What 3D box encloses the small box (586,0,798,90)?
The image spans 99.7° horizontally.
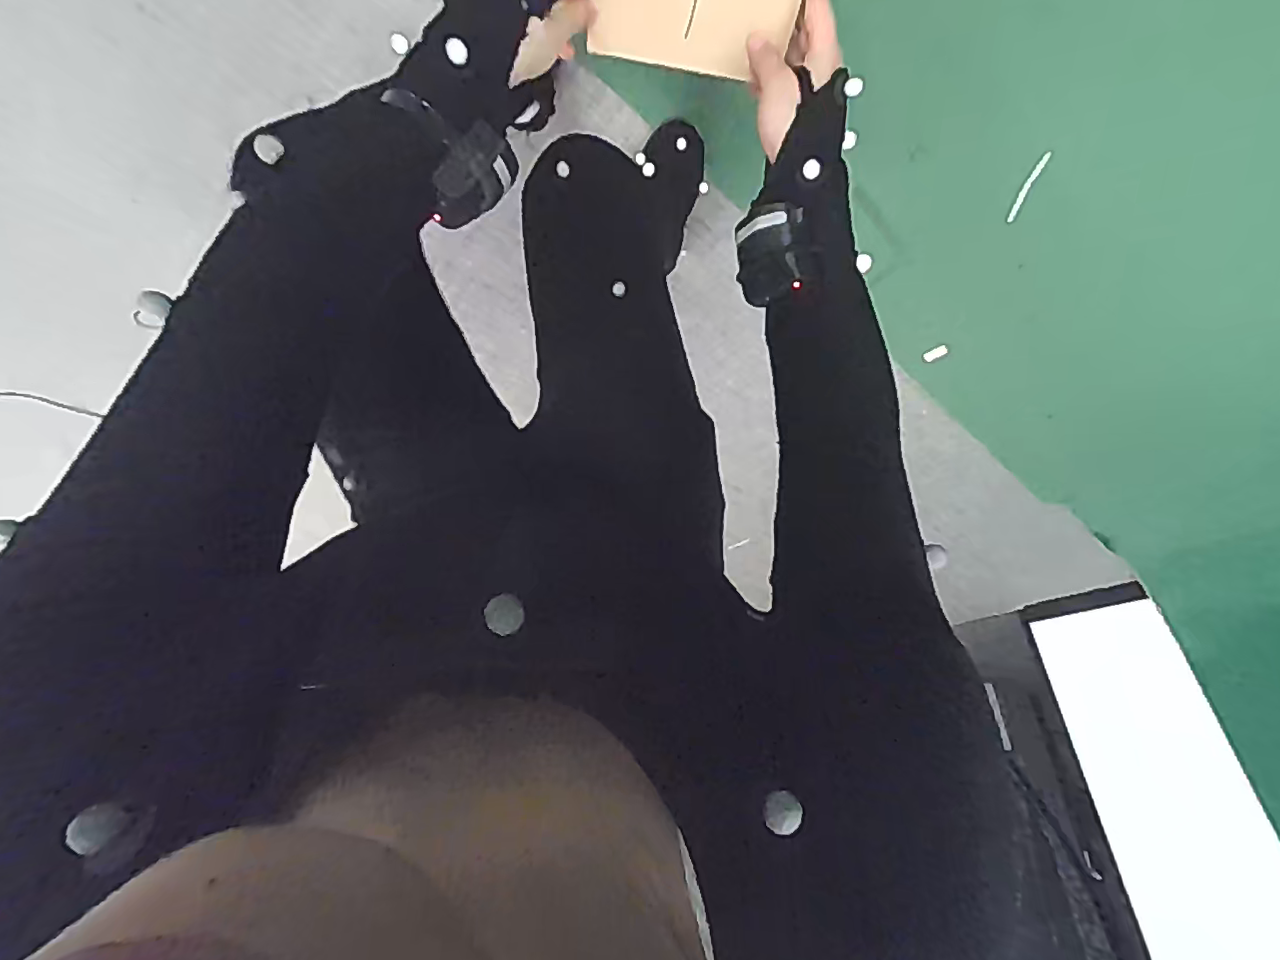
[{"bbox_3d":[0.047,-0.461,0.440,0.168,0.176,0.179,5,143,-6],"label":"small box"}]
